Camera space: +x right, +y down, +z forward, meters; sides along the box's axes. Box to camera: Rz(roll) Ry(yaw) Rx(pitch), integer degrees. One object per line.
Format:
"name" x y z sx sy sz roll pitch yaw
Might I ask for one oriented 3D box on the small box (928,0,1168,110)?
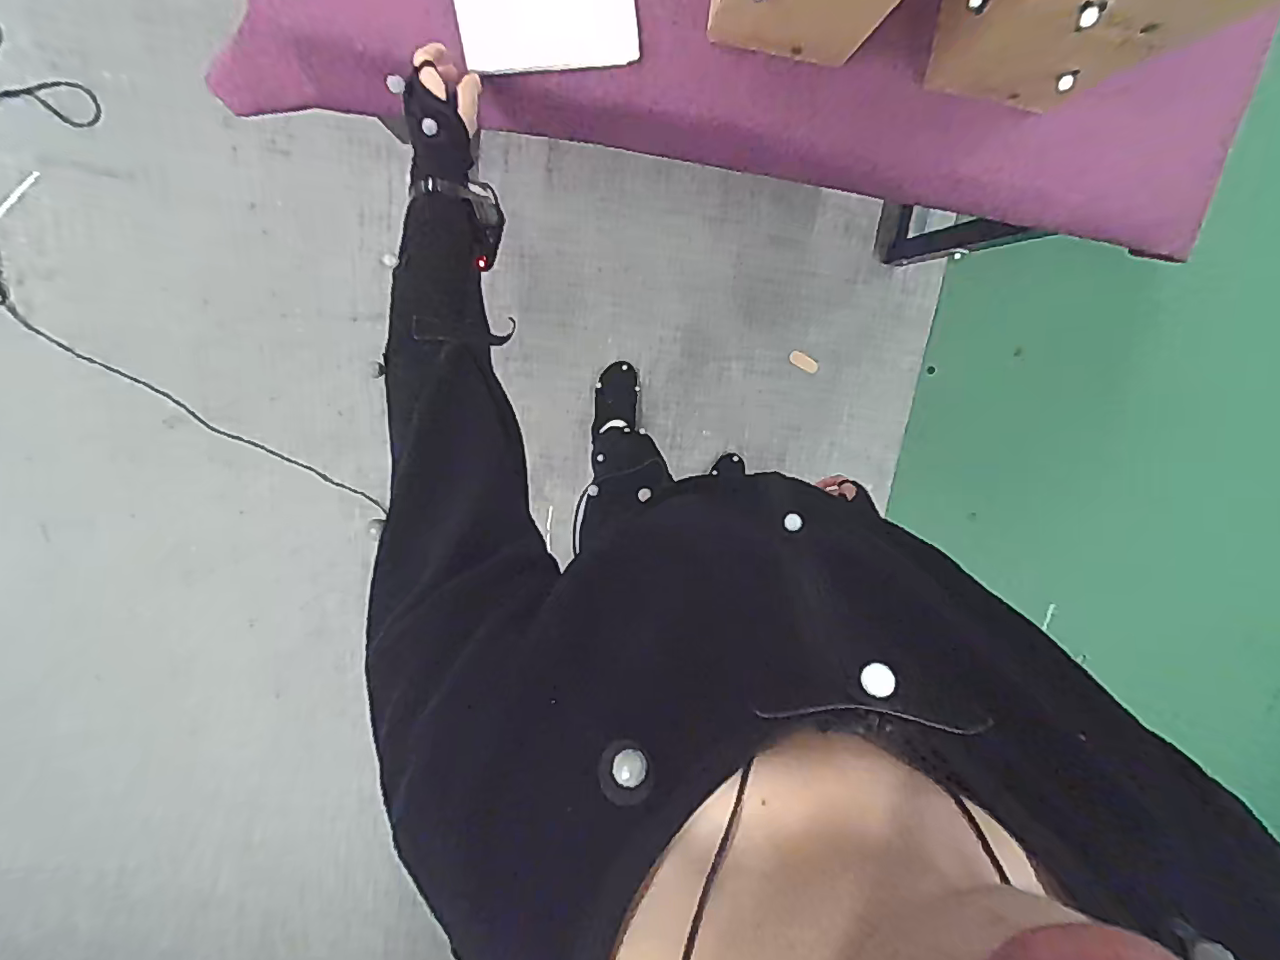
"small box" 0.444 -0.534 0.577 0.168 0.176 0.179 6 103 -9

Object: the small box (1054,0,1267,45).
"small box" 0.466 -0.489 0.421 0.168 0.176 0.179 5 103 -8
